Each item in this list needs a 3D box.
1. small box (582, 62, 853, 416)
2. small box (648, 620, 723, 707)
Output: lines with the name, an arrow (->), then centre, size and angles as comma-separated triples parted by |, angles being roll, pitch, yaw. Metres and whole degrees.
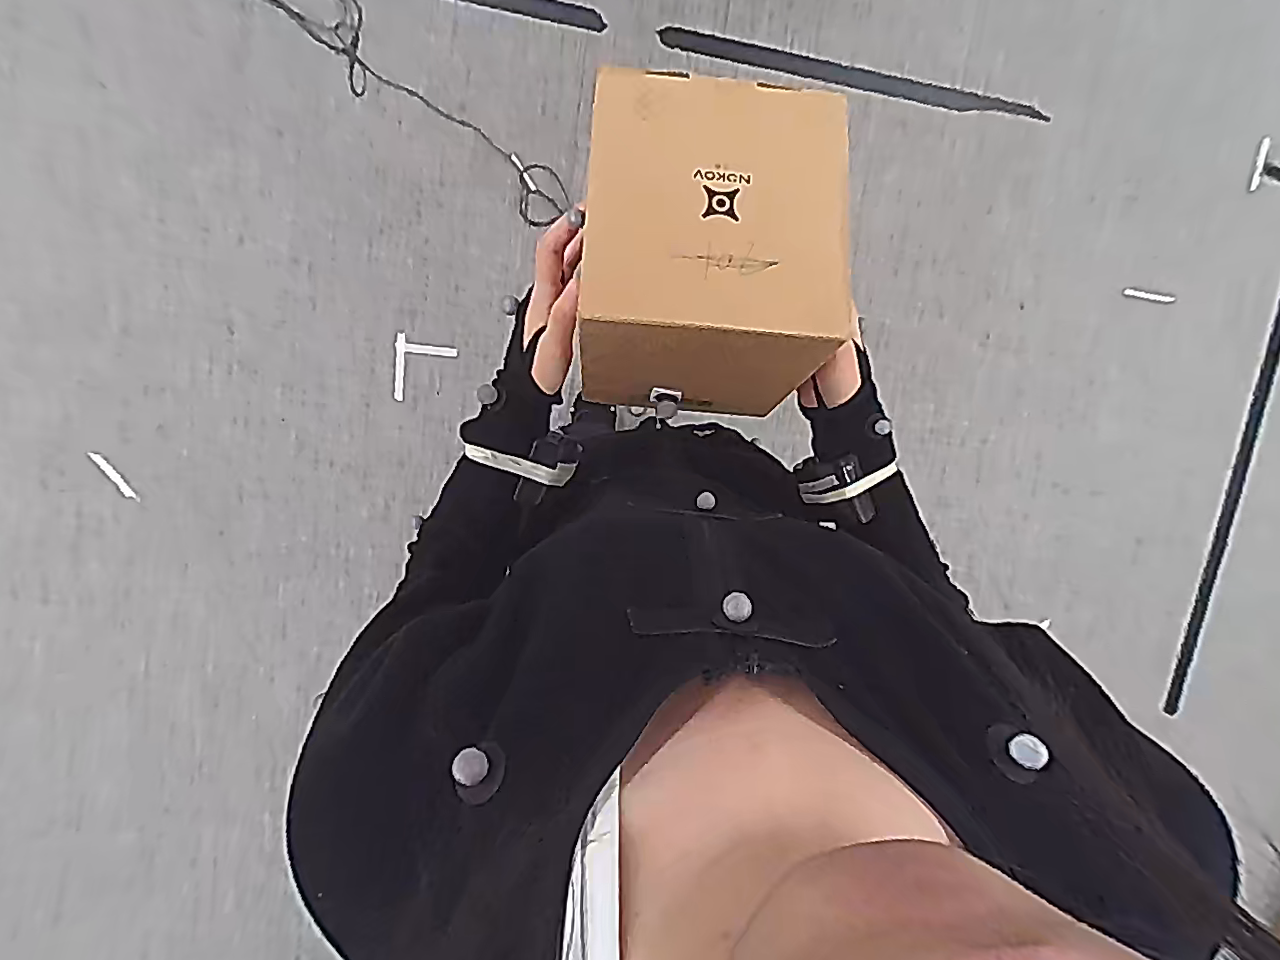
small box -> 0.044, -0.161, 0.411 | 0.168, 0.176, 0.179 | 3, 80, -4
small box -> 0.122, 0.499, 1.494 | 0.179, 0.176, 0.168 | -5, 98, -5
